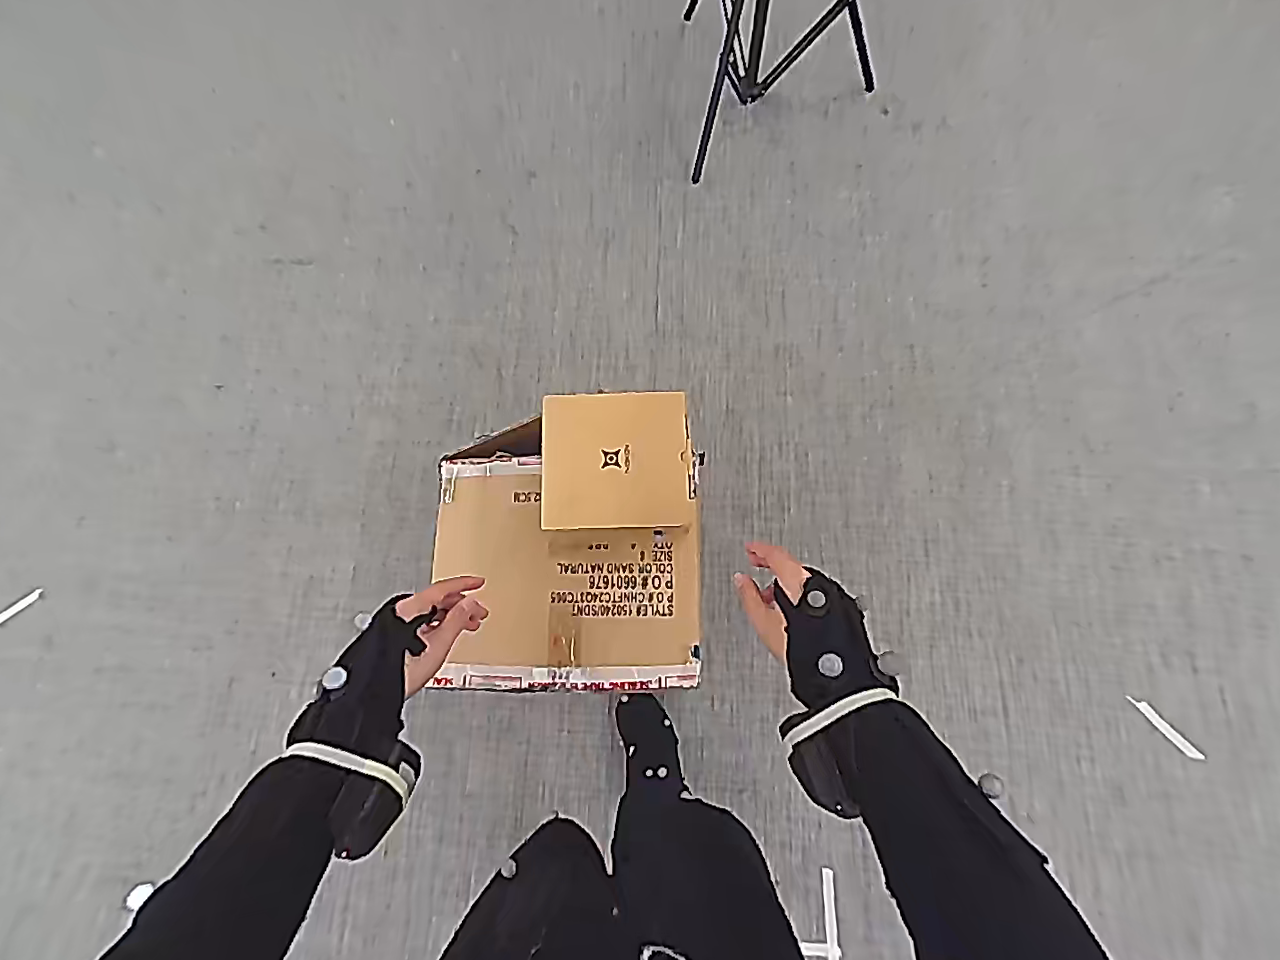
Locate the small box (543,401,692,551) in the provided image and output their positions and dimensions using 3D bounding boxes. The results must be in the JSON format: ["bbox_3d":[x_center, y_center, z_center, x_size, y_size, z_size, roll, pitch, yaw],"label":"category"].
[{"bbox_3d":[-0.025,0.003,0.718,0.179,0.176,0.168,-2,77,1],"label":"small box"}]
